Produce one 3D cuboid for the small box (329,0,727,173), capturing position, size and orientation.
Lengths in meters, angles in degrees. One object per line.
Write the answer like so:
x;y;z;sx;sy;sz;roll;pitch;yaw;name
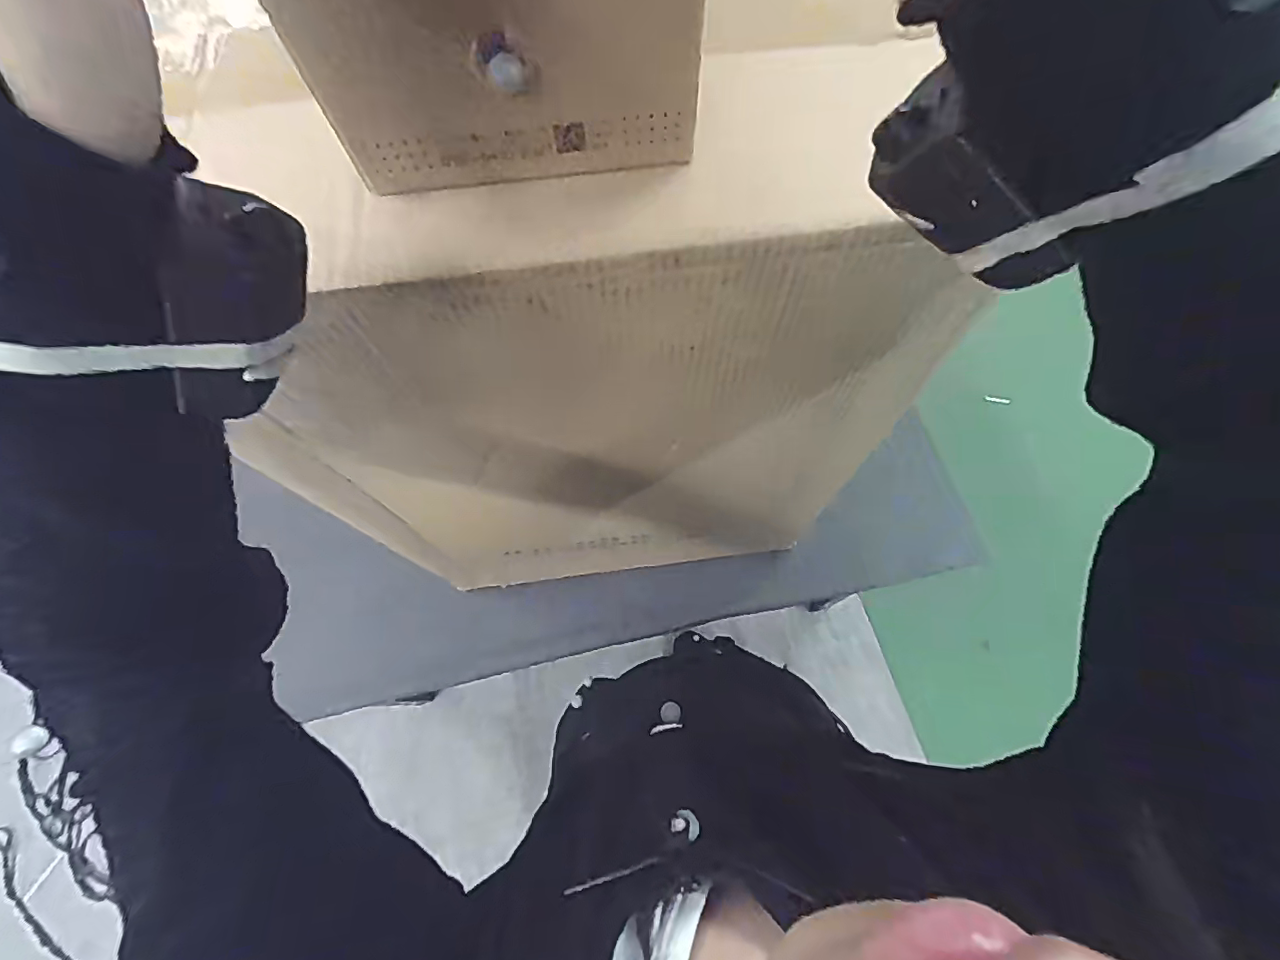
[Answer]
-0.054;-0.271;0.235;0.168;0.176;0.179;-7;70;-2;small box
